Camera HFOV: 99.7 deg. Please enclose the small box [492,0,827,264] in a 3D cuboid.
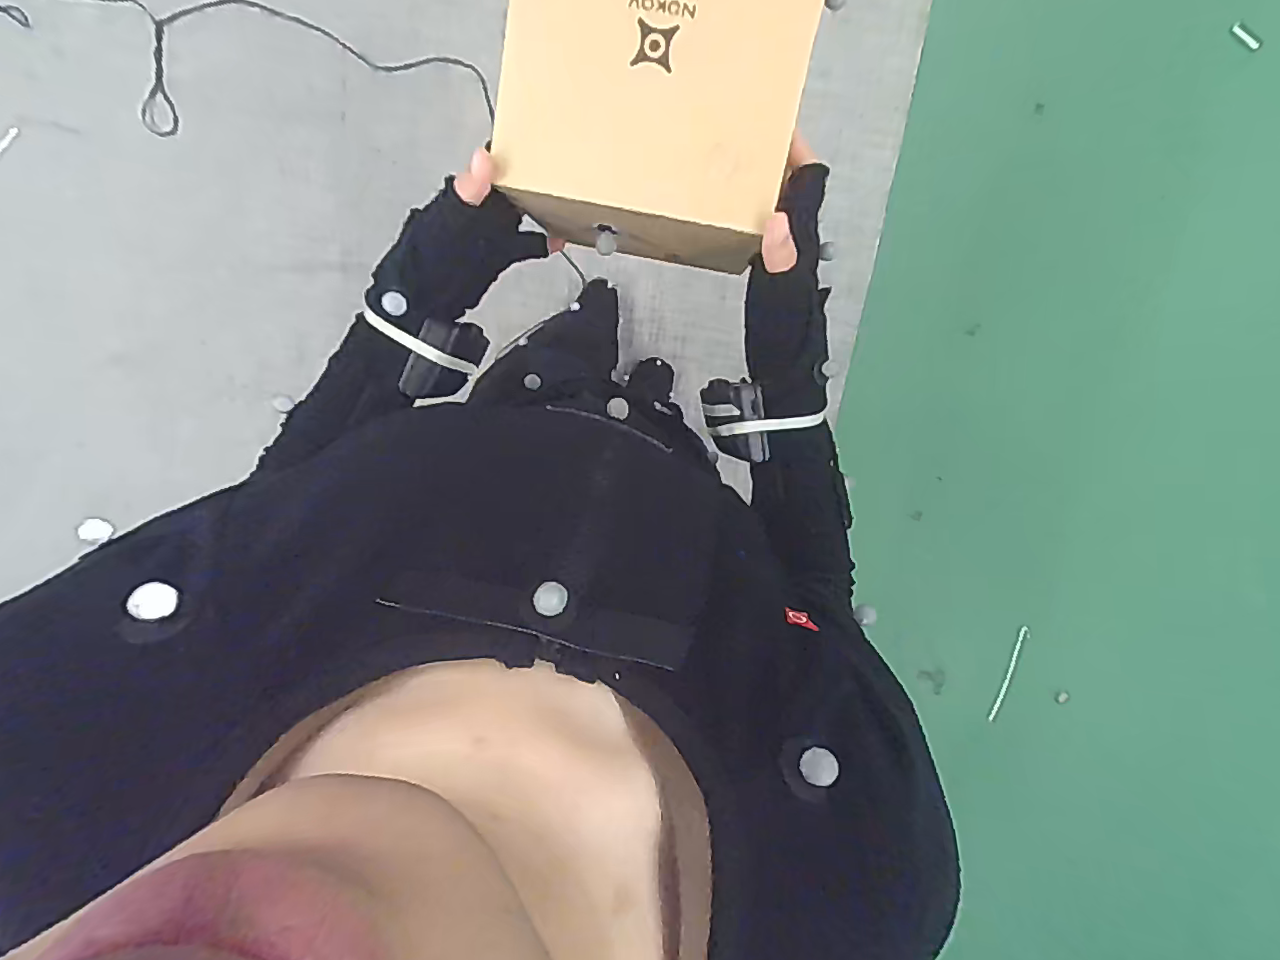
[{"bbox_3d":[0.019,-0.256,0.358,0.168,0.176,0.179,12,103,2],"label":"small box"}]
